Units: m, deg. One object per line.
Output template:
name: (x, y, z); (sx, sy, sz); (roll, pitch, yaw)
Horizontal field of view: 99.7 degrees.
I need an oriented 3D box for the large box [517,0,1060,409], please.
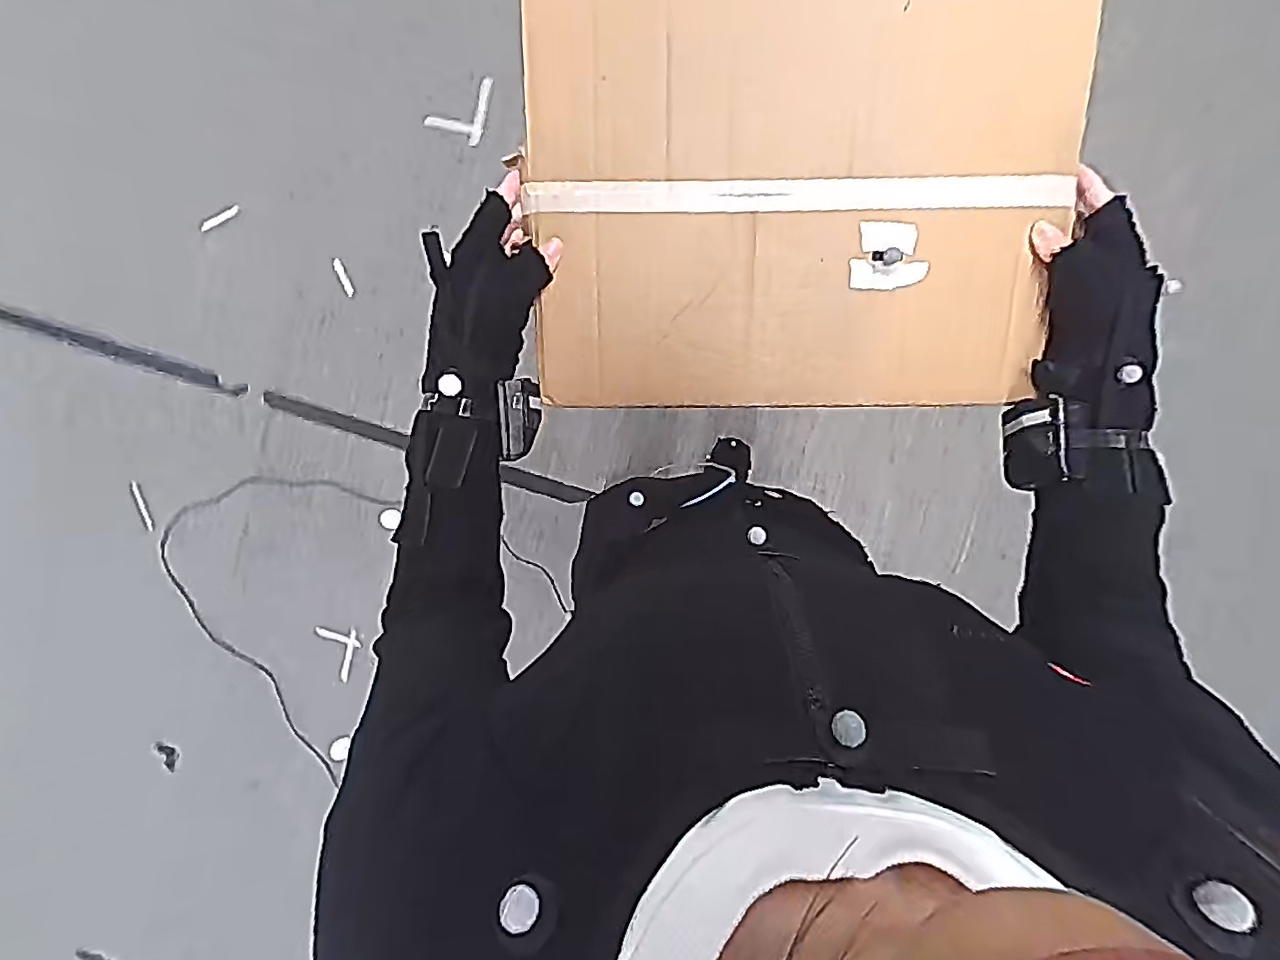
large box: (0.111, -0.248, 0.566); (0.408, 0.320, 0.320); (-1, 103, 0)
